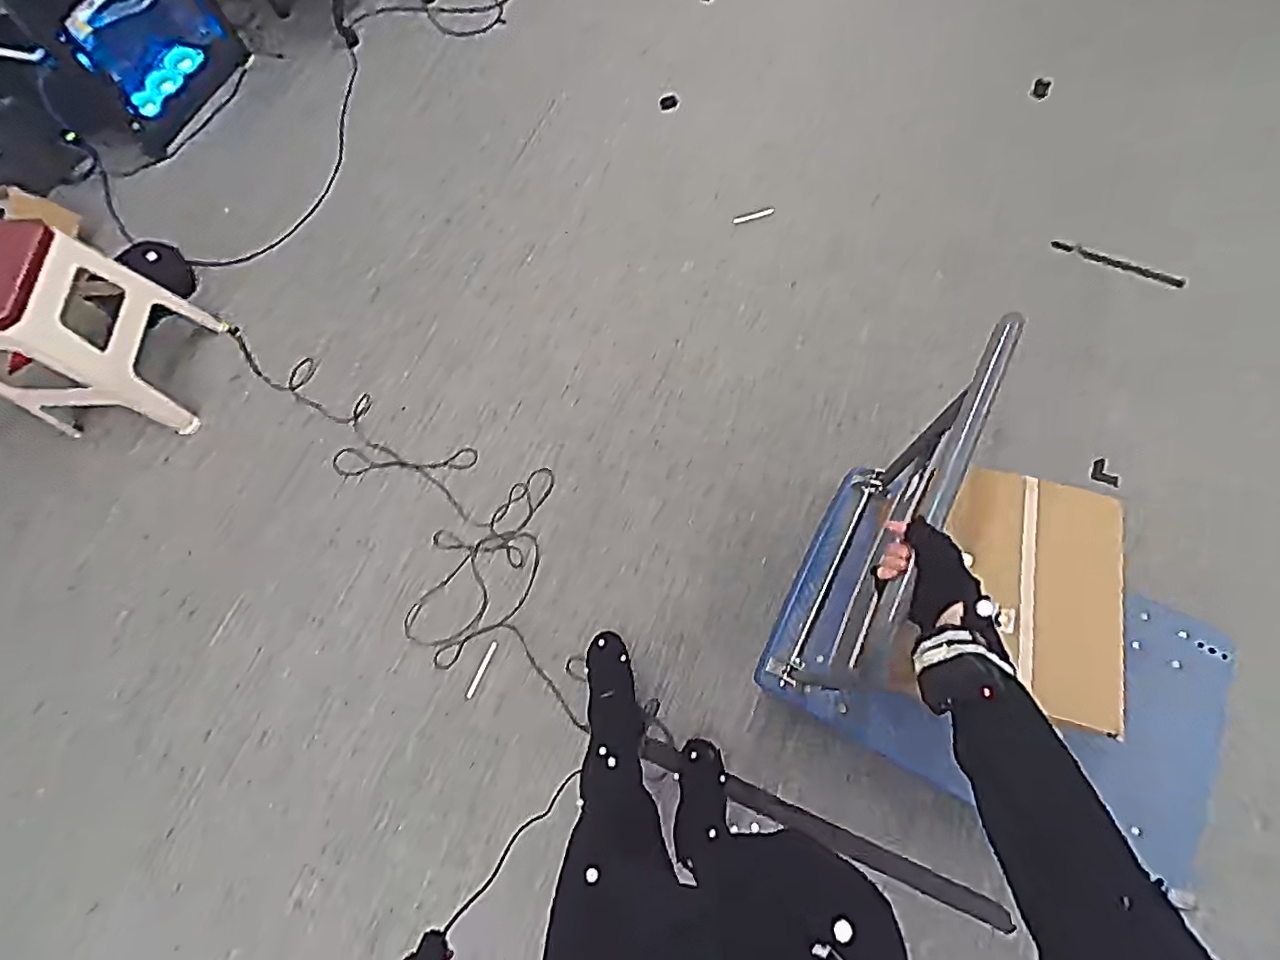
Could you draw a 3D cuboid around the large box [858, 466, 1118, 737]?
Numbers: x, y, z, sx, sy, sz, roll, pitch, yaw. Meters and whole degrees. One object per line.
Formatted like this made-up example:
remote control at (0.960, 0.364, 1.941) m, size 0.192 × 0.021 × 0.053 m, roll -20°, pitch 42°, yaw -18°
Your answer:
large box at (0.655, 0.233, 1.062) m, size 0.320 × 0.320 × 0.408 m, roll 13°, pitch 73°, yaw 7°
